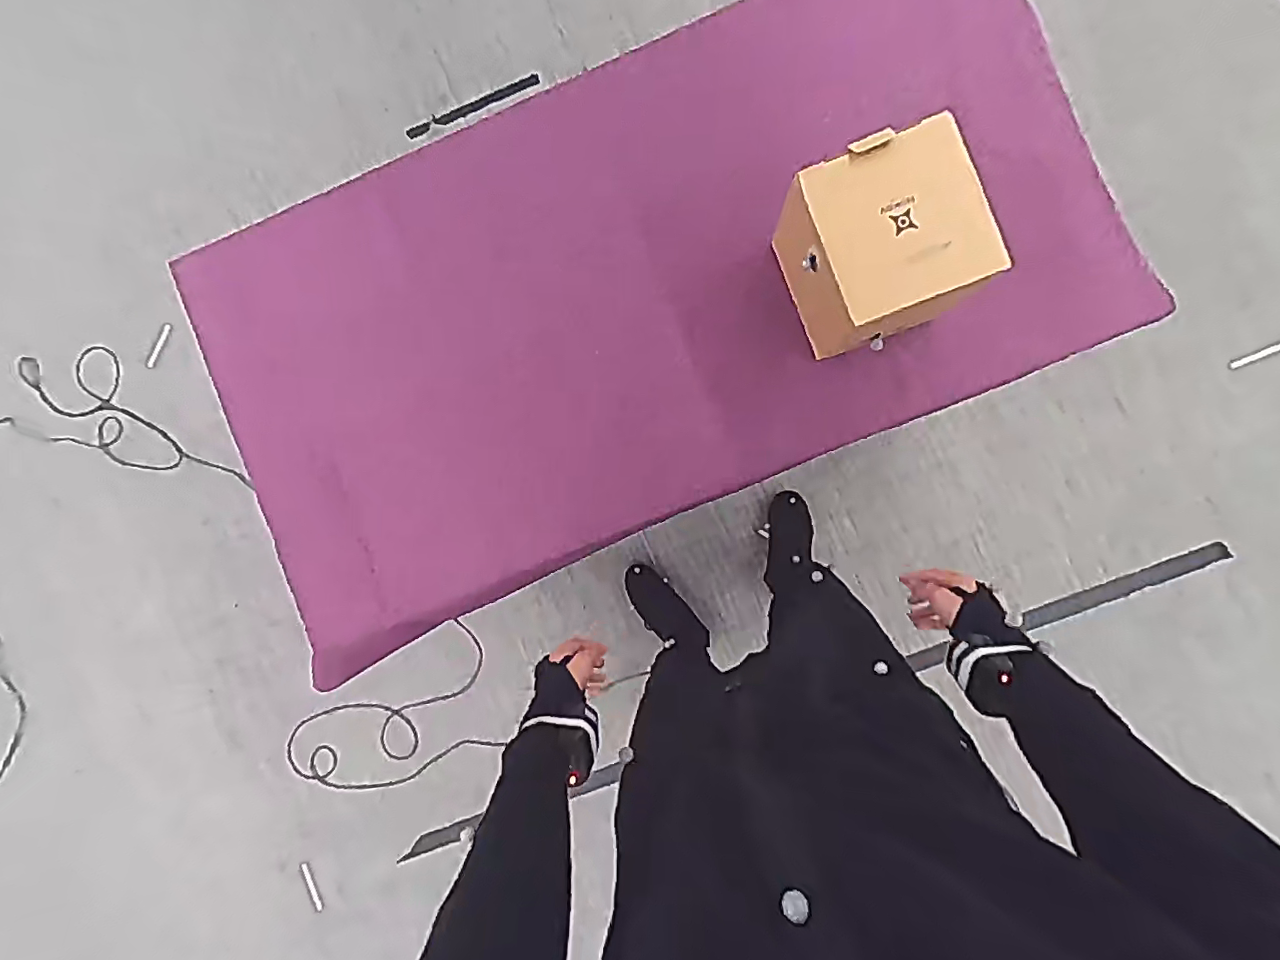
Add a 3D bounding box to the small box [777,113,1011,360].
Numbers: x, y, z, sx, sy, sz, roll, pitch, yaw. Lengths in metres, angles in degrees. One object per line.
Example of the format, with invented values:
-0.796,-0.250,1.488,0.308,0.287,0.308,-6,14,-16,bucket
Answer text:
0.271,-0.261,0.623,0.168,0.176,0.179,-20,88,5,small box
